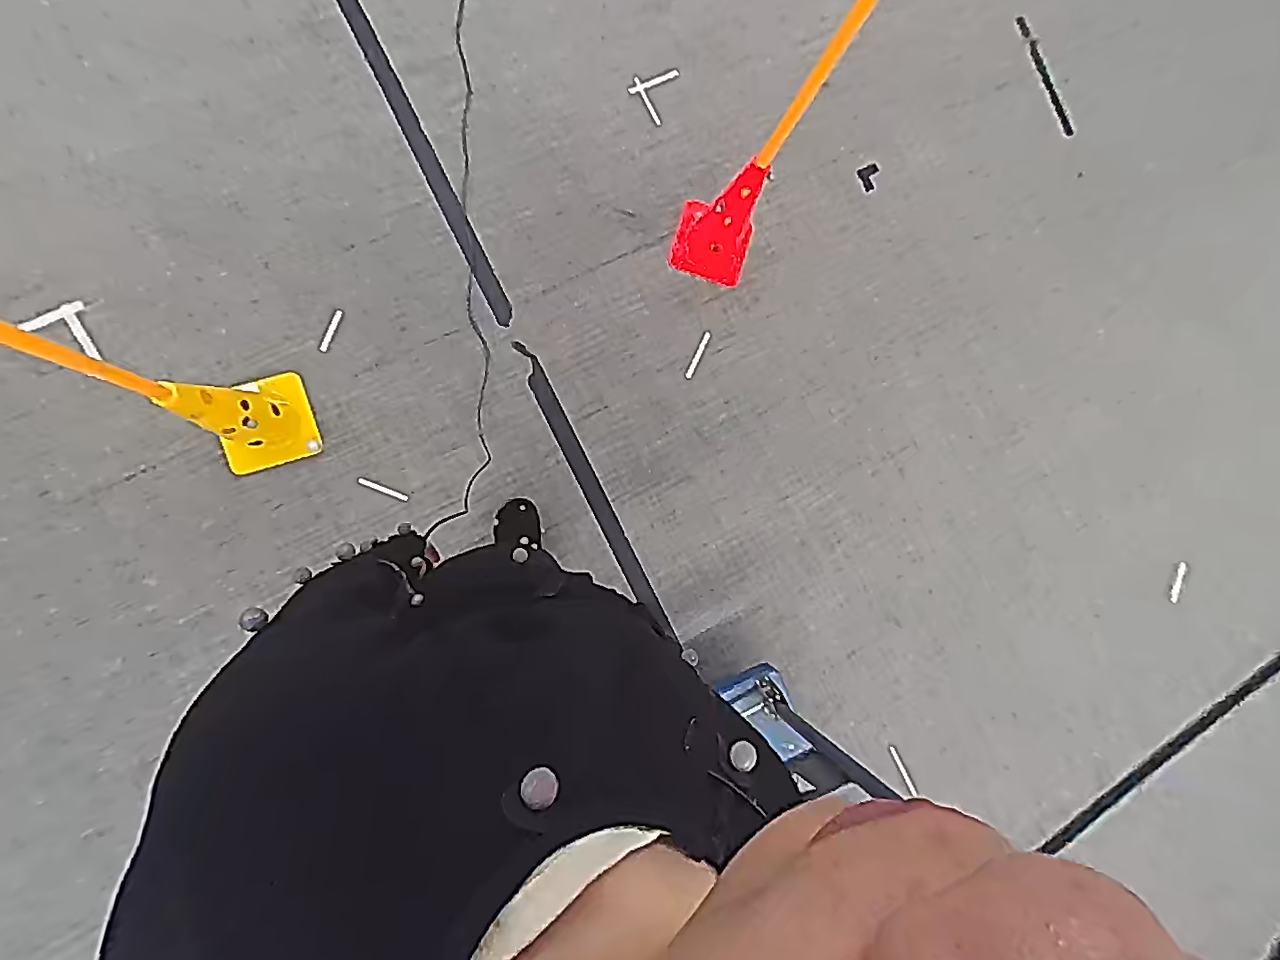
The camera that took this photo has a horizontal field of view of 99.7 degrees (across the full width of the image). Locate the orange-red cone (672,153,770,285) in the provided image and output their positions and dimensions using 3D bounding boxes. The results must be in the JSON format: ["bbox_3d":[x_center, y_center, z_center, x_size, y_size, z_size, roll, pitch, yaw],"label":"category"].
[{"bbox_3d":[0.225,-0.646,1.284,0.198,0.360,0.199,18,85,-8],"label":"orange-red cone"}]
